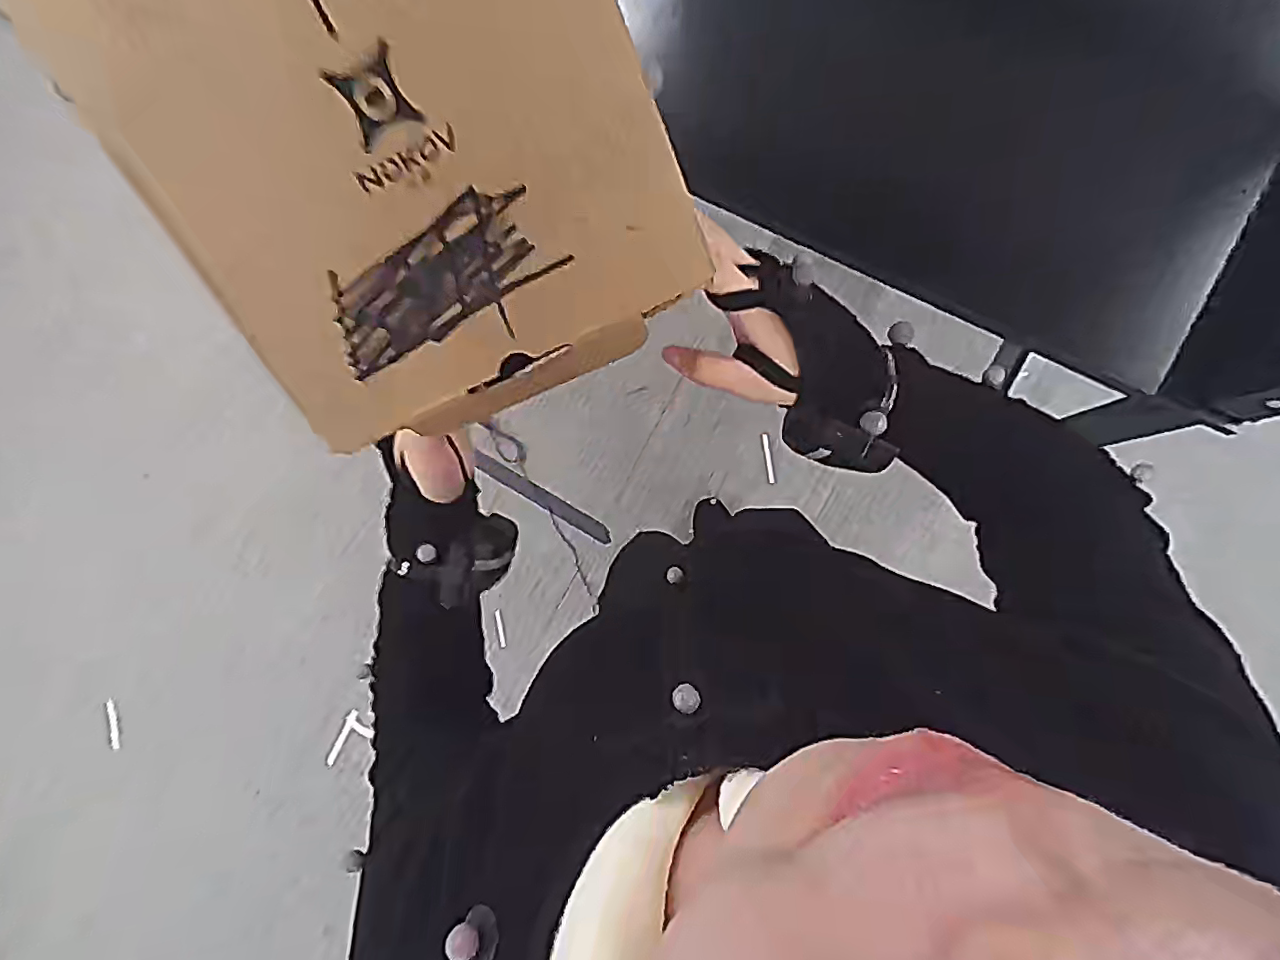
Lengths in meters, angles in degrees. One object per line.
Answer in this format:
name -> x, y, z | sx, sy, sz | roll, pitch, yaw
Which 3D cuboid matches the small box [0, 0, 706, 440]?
small box -> -0.087, -0.148, 0.231 | 0.168, 0.176, 0.179 | -23, 114, 5
